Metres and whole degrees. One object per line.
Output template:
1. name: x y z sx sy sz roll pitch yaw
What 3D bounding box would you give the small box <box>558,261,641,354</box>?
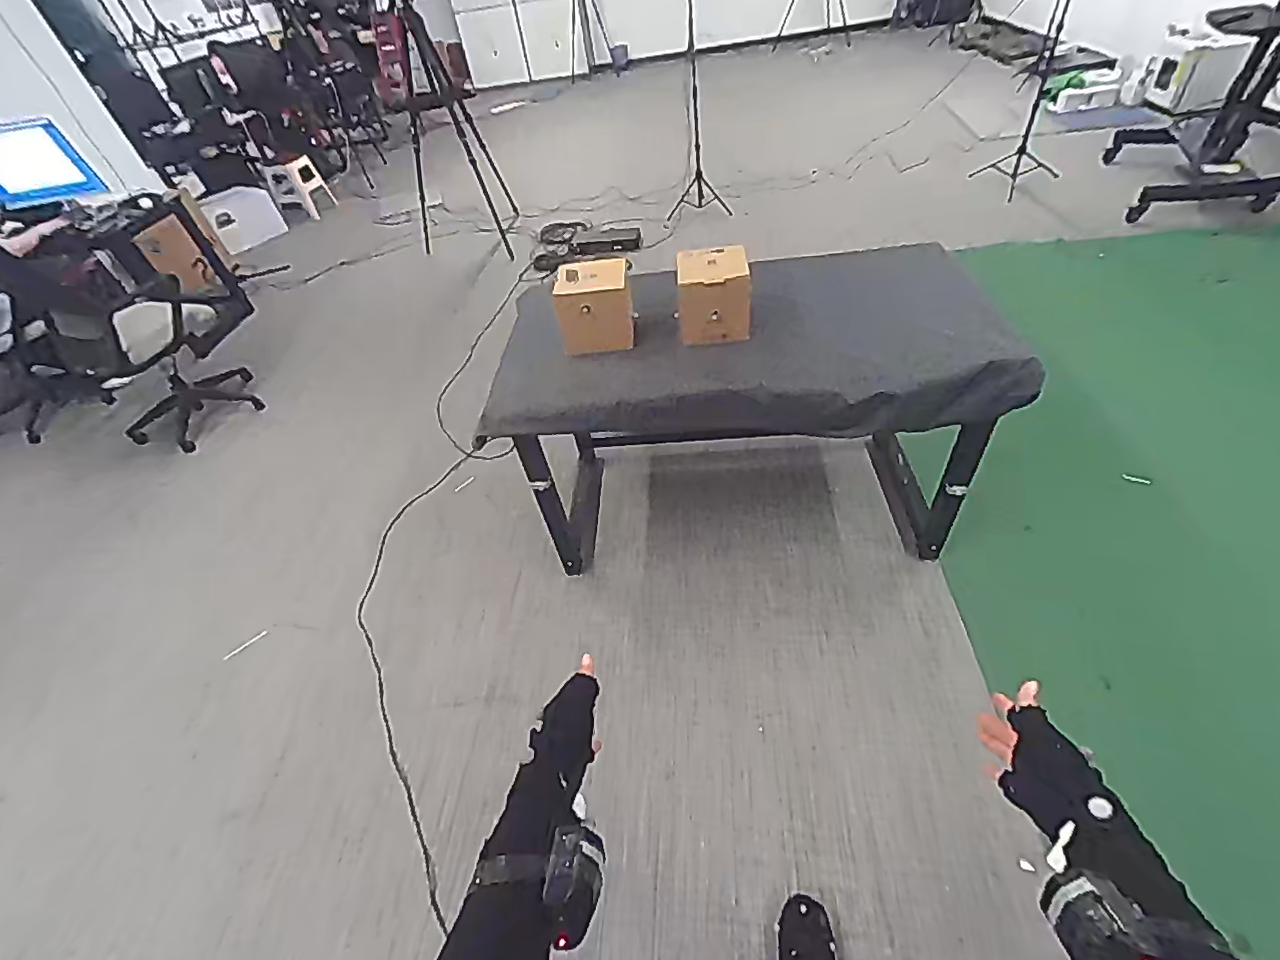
1. small box: -0.097 -0.436 1.381 0.179 0.176 0.168 -4 46 5

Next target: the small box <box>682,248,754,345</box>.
1. small box: 0.194 -0.448 1.342 0.168 0.176 0.179 -3 46 7
